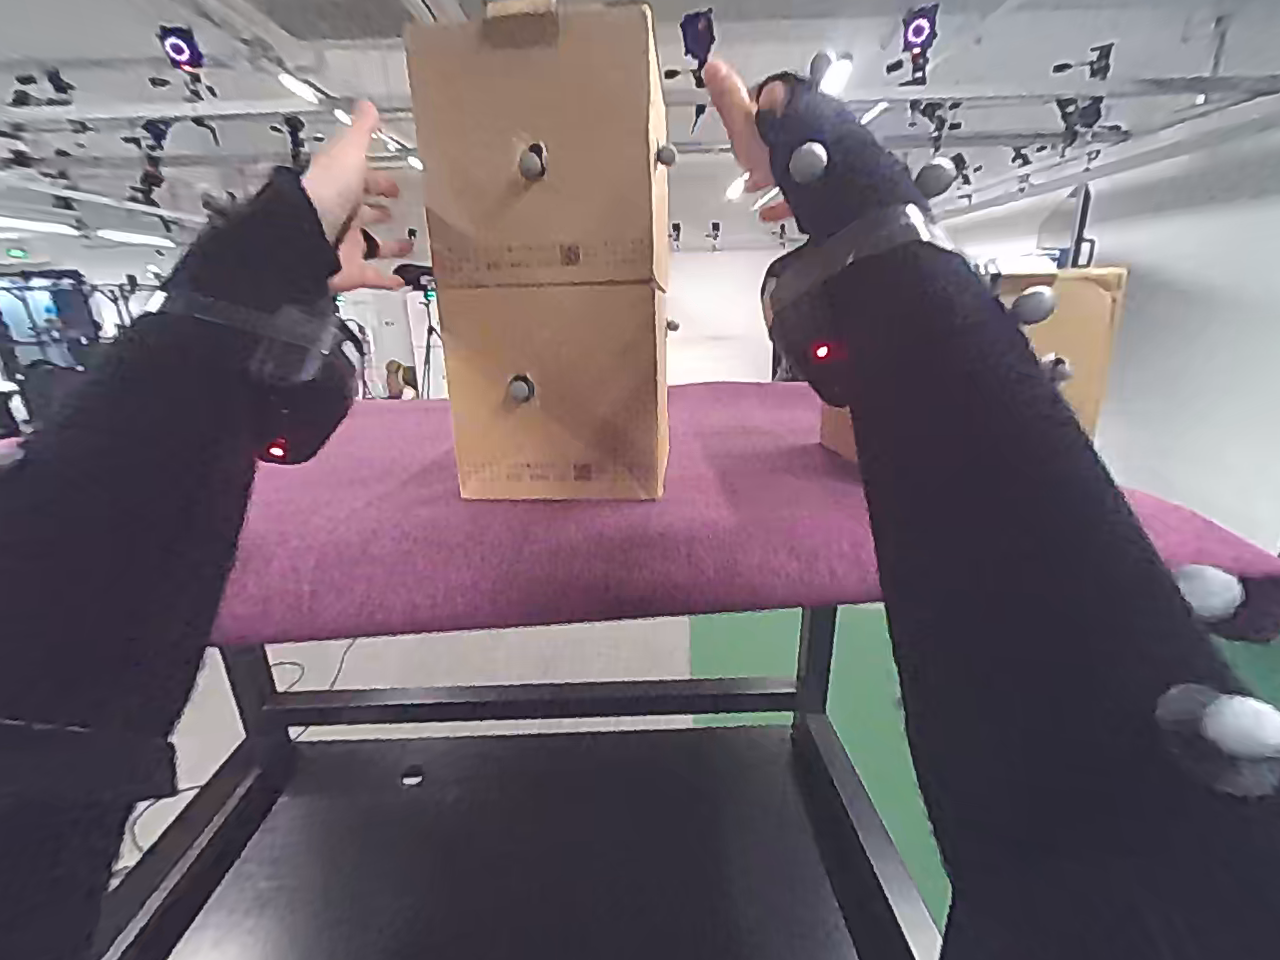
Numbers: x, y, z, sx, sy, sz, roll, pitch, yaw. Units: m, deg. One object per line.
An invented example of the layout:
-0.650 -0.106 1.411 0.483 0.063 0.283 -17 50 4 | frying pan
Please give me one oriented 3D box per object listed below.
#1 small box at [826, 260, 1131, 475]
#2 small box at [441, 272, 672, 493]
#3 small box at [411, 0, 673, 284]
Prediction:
0.285 -0.103 0.501 0.168 0.176 0.179 -2 16 -2 | small box
-0.056 -0.090 0.491 0.168 0.176 0.179 0 16 5 | small box
-0.059 -0.248 0.445 0.168 0.176 0.179 1 17 5 | small box
